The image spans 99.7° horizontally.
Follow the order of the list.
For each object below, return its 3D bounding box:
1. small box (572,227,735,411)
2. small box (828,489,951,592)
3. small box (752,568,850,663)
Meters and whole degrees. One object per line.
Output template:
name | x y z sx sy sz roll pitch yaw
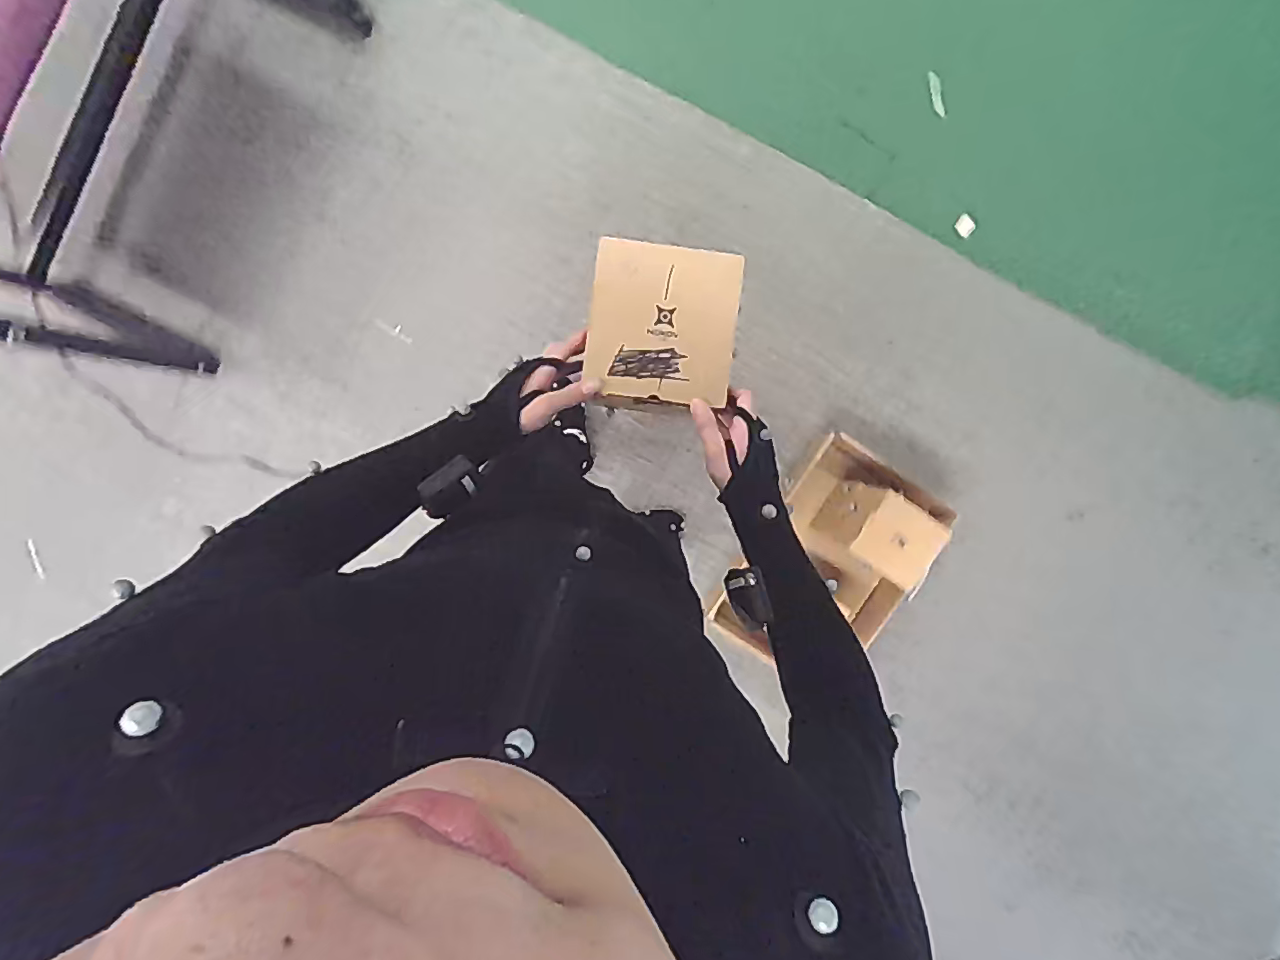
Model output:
small box | 0.013 -0.184 0.671 0.168 0.176 0.179 5 92 -3
small box | 0.588 0.134 1.298 0.179 0.176 0.168 34 95 0
small box | 0.432 0.359 1.479 0.179 0.176 0.168 34 93 1
